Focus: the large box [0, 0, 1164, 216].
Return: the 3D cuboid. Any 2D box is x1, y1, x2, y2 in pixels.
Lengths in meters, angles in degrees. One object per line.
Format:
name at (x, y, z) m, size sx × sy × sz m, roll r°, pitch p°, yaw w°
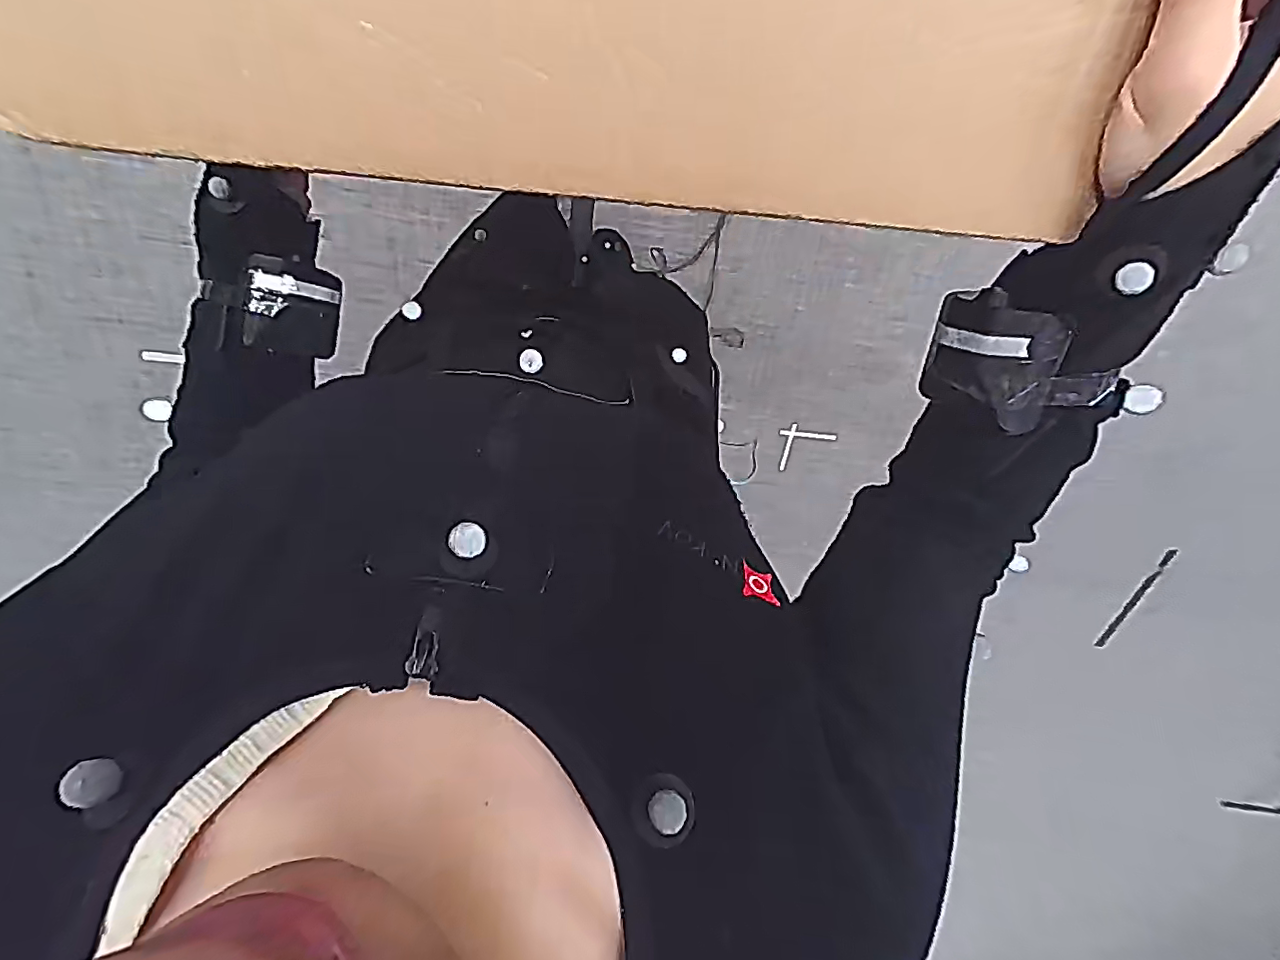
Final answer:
large box at (-0.015, -0.328, 0.251) m, size 0.408 × 0.320 × 0.320 m, roll 1°, pitch 125°, yaw -8°
